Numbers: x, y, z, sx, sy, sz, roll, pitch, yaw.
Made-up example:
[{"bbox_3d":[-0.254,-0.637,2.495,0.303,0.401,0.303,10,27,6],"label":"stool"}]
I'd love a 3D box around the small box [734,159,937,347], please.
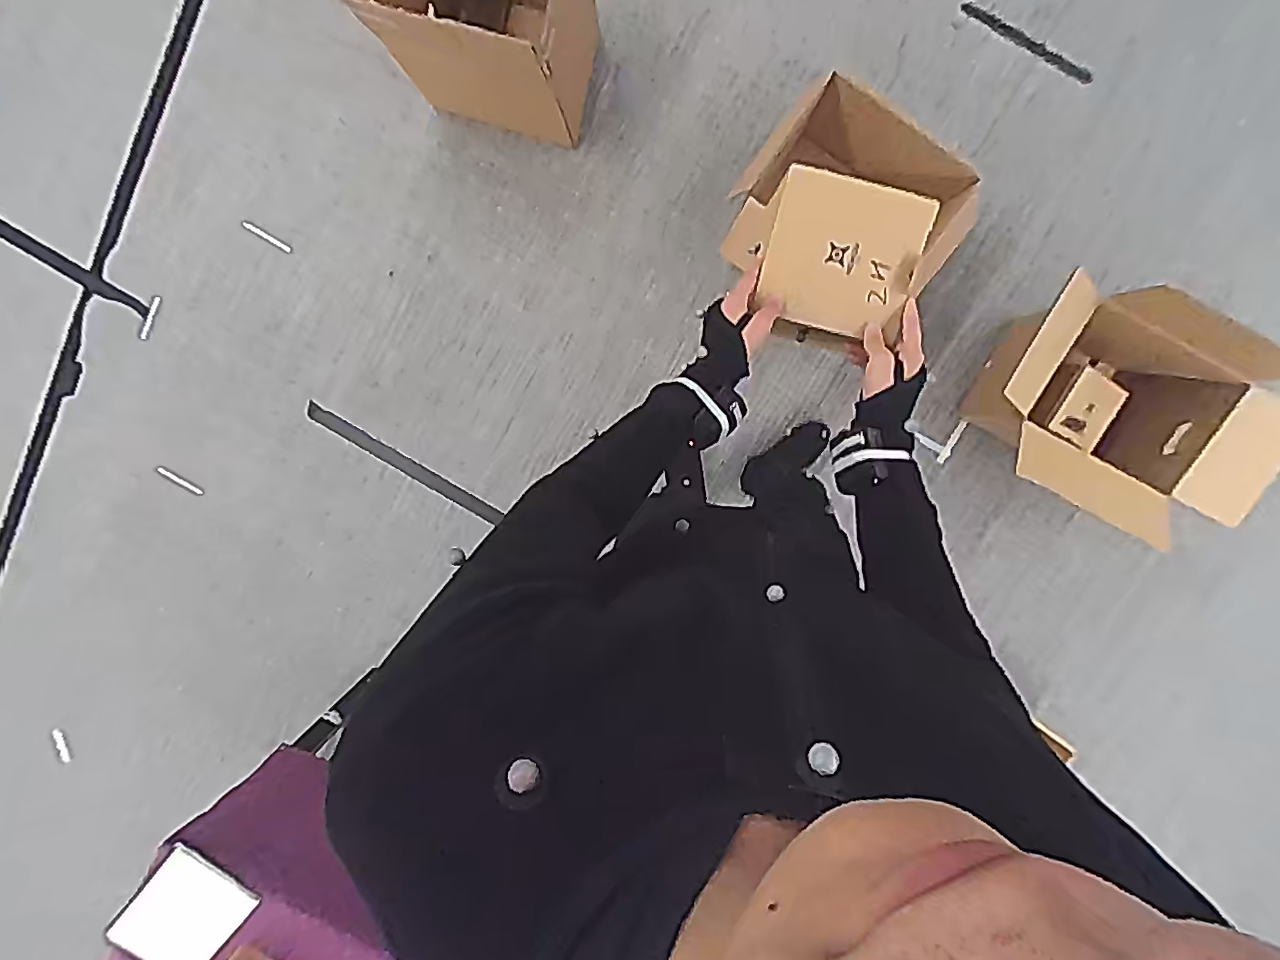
[{"bbox_3d":[0.229,-0.271,0.689,0.179,0.176,0.168,14,101,-1],"label":"small box"}]
